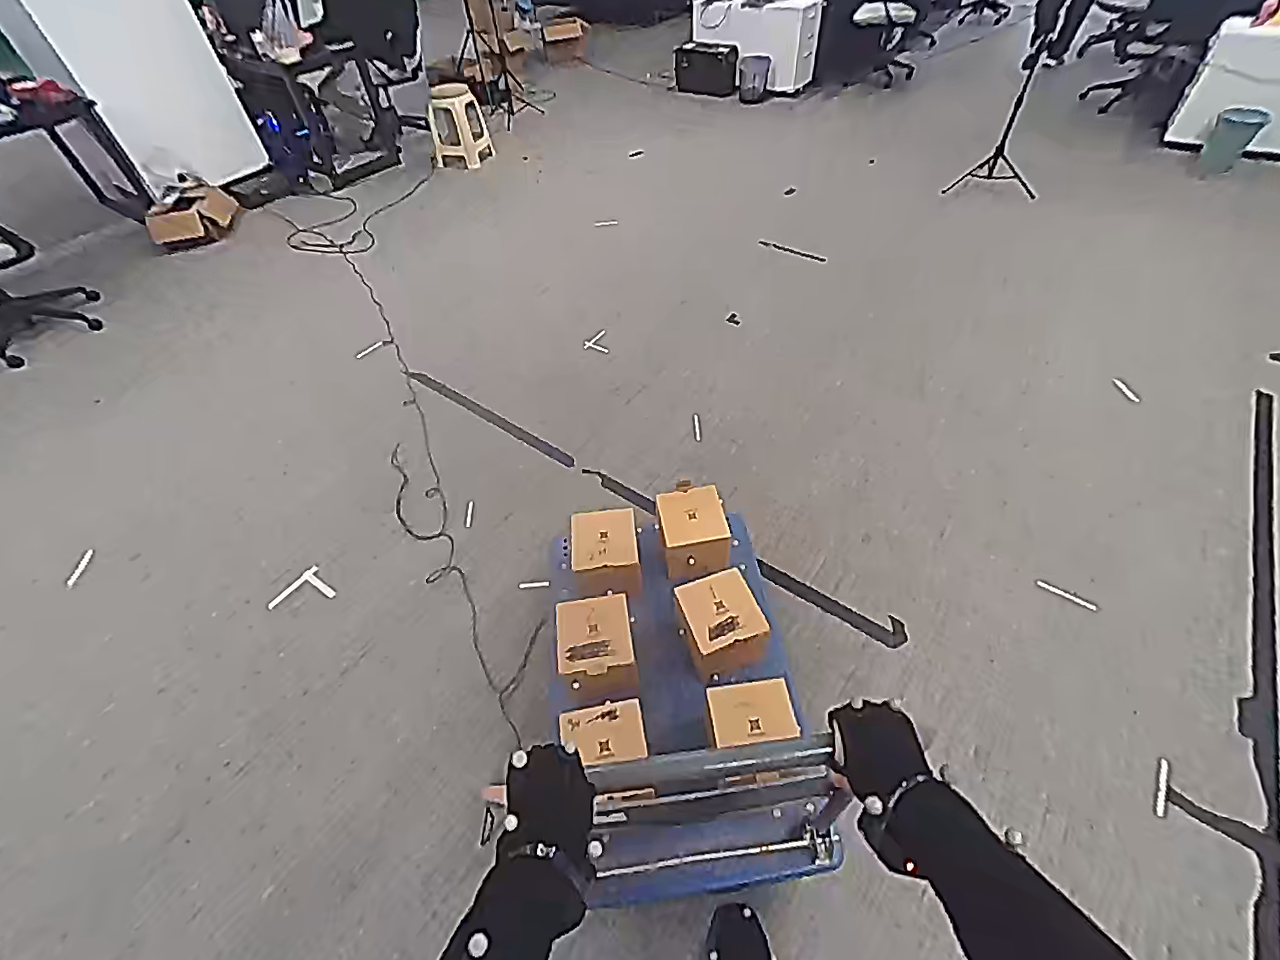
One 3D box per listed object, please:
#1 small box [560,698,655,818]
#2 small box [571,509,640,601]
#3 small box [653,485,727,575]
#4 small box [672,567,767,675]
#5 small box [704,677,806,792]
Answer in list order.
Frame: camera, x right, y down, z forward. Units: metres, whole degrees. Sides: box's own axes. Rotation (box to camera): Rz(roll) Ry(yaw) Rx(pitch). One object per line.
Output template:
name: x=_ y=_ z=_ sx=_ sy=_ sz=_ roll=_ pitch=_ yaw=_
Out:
small box: x=-0.065 y=0.577 z=1.112 sx=0.168 sy=0.176 sz=0.179 roll=-9 pitch=50 yaw=-5
small box: x=-0.090 y=0.201 z=1.438 sx=0.168 sy=0.176 sz=0.179 roll=-6 pitch=50 yaw=-1
small box: x=0.135 y=0.144 z=1.472 sx=0.168 sy=0.176 sz=0.179 roll=-10 pitch=49 yaw=-4
small box: x=0.185 y=0.345 z=1.294 sx=0.168 sy=0.176 sz=0.179 roll=-17 pitch=49 yaw=-10
small box: x=0.230 y=0.536 z=1.127 sx=0.168 sy=0.176 sz=0.179 roll=-7 pitch=49 yaw=-2
